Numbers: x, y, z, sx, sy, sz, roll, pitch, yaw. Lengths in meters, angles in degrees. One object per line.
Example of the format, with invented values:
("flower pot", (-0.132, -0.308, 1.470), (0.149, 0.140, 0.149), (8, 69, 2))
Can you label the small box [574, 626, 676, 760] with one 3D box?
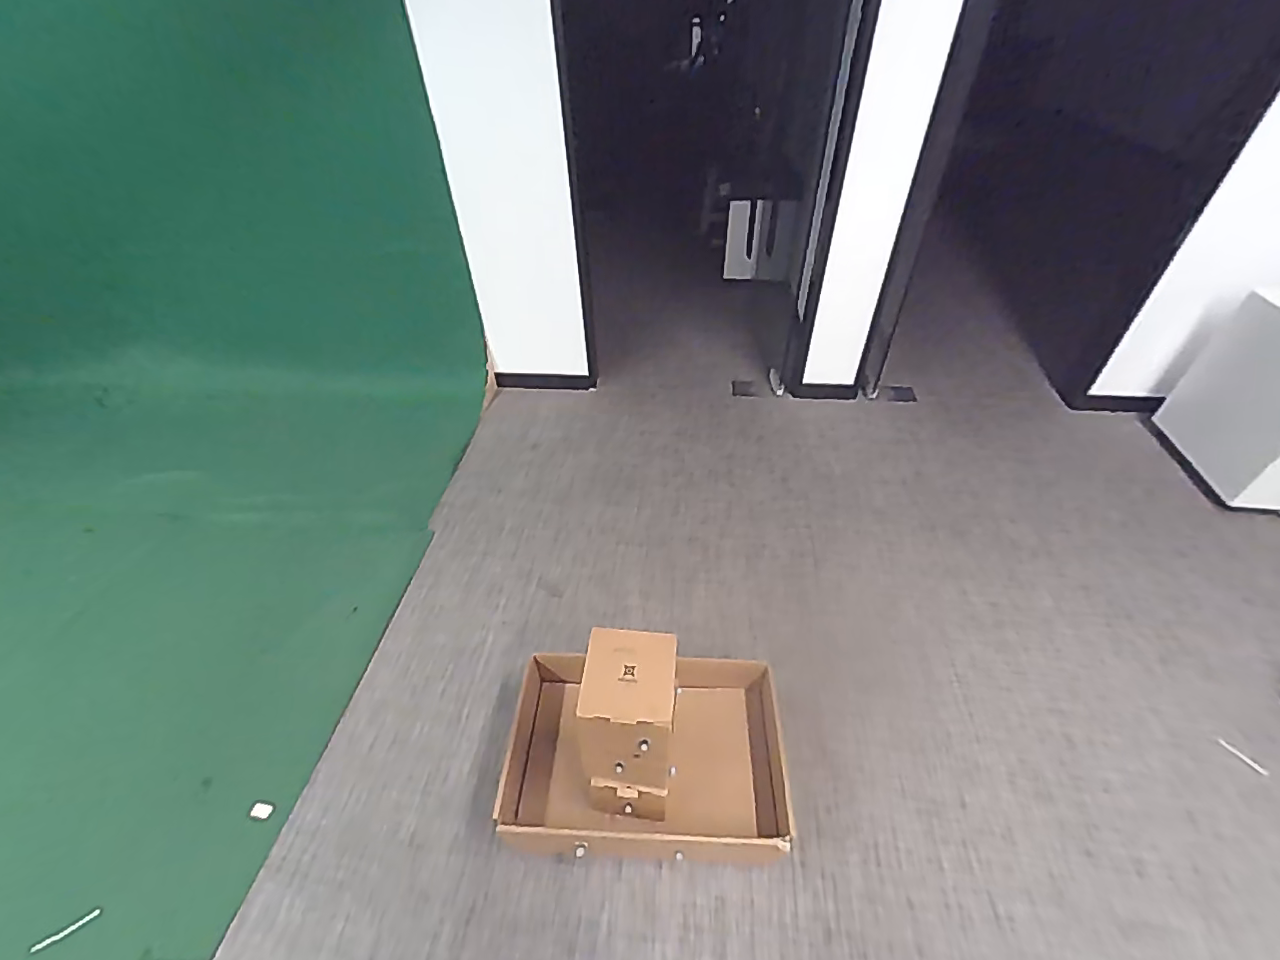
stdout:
("small box", (-0.022, 0.404, 1.021), (0.168, 0.176, 0.179), (5, 41, 4))

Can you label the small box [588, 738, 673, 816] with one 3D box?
("small box", (-0.015, 0.645, 1.241), (0.168, 0.176, 0.179), (6, 44, 7))

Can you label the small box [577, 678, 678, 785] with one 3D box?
("small box", (-0.019, 0.517, 1.137), (0.179, 0.176, 0.168), (7, 42, 10))
